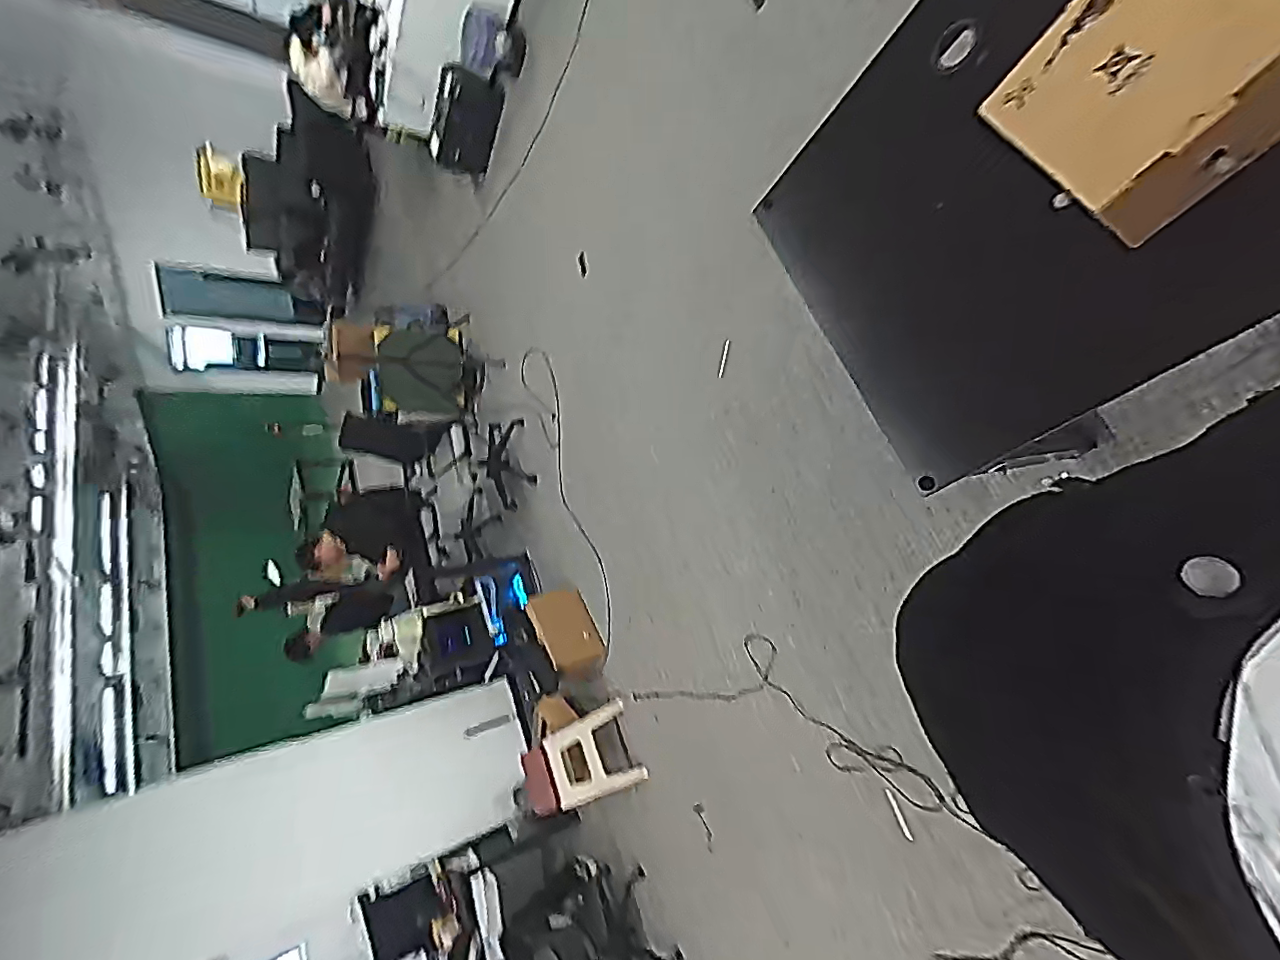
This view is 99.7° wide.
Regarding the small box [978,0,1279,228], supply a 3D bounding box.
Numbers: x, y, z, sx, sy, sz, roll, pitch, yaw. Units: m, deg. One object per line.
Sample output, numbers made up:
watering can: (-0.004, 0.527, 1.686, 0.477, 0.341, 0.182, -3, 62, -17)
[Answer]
small box: (0.491, -0.374, 0.530, 0.168, 0.176, 0.179, -49, 56, 44)
